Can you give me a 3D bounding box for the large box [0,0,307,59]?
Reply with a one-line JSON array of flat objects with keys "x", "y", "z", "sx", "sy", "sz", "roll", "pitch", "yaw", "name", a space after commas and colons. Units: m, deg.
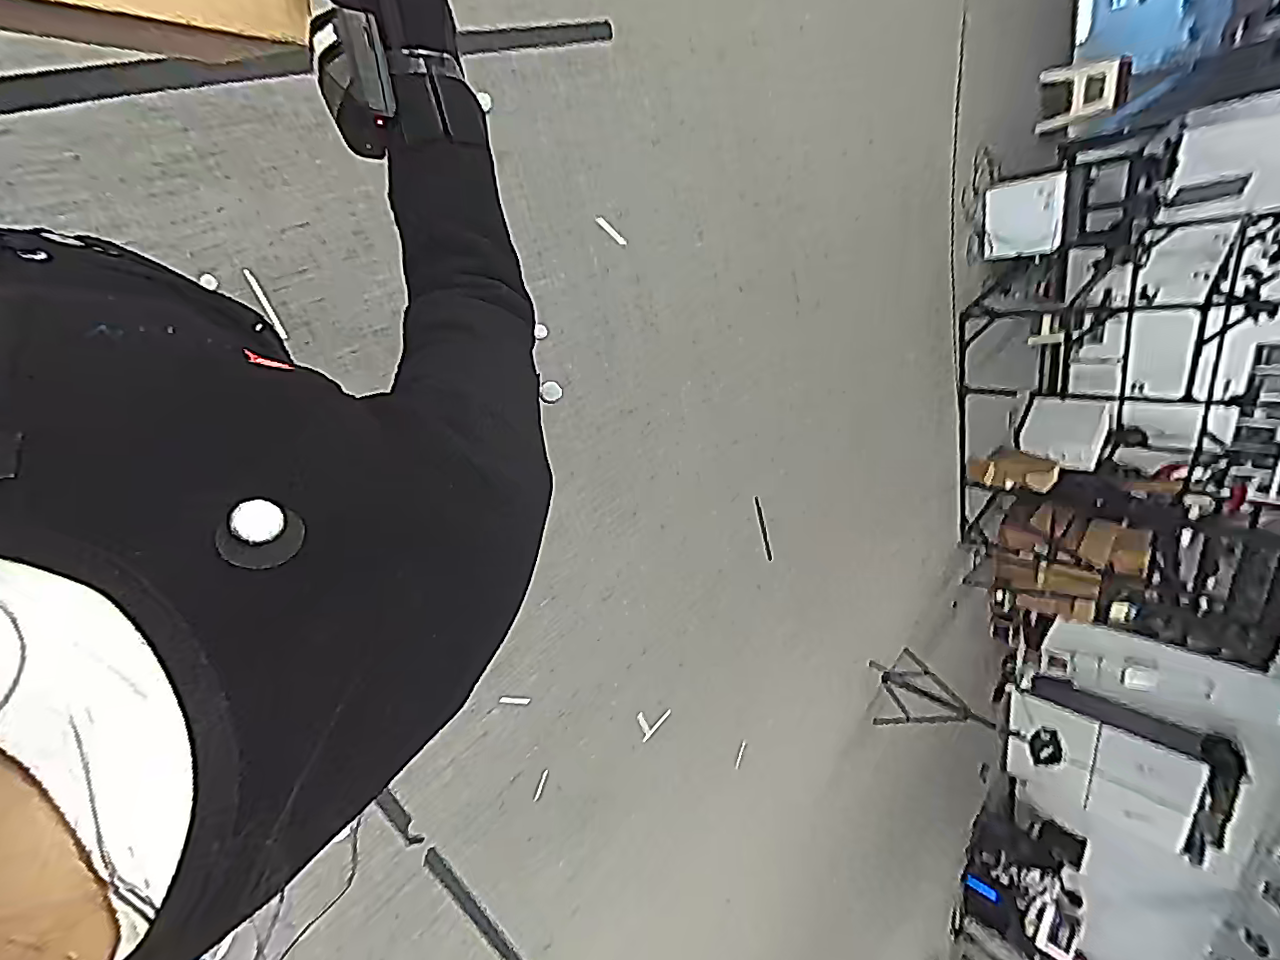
[{"x": -0.457, "y": -0.430, "z": 0.258, "sx": 0.408, "sy": 0.320, "sz": 0.320, "roll": -21, "pitch": 131, "yaw": -38, "name": "large box"}]
